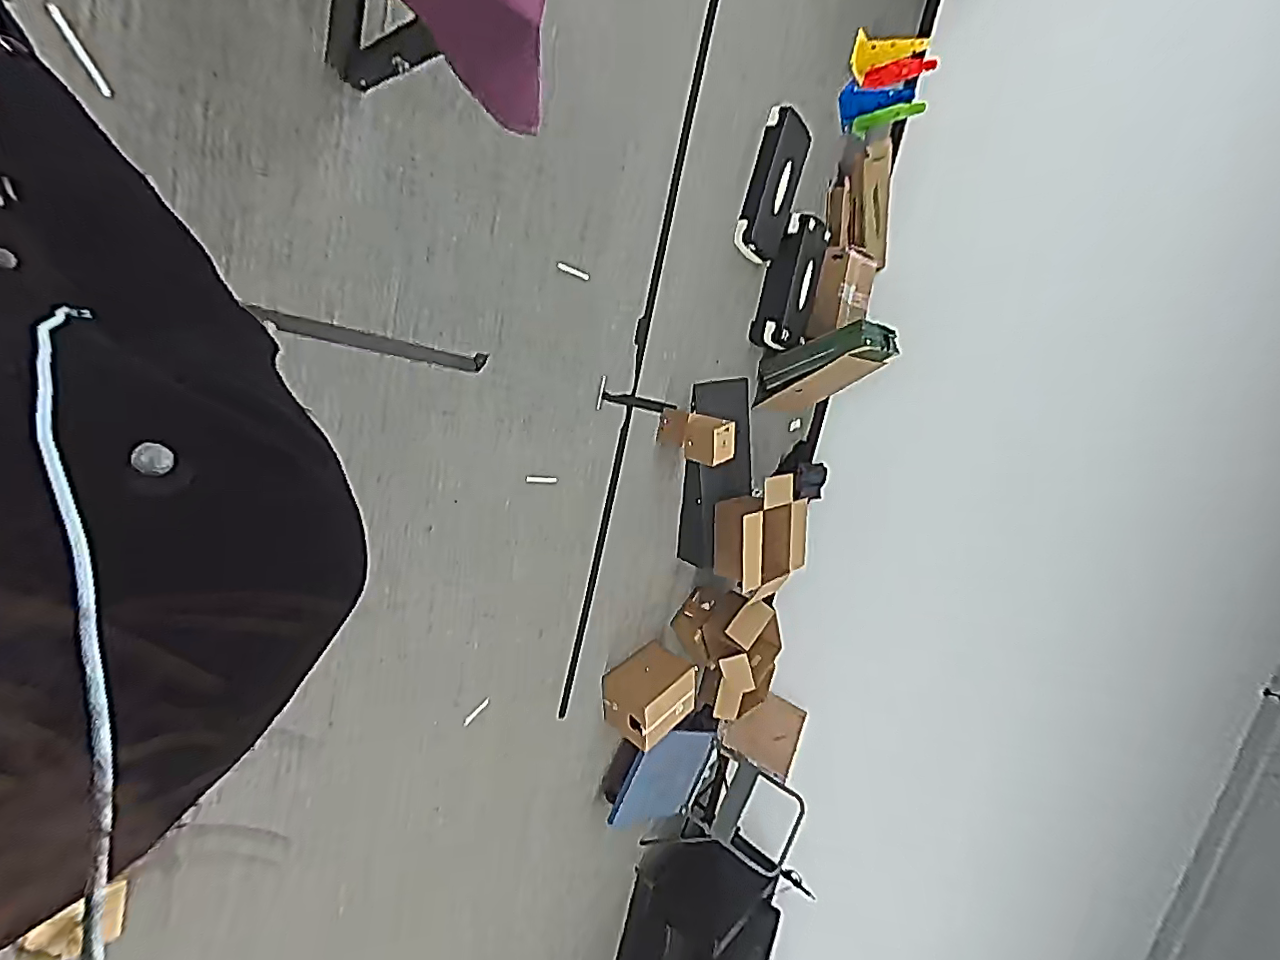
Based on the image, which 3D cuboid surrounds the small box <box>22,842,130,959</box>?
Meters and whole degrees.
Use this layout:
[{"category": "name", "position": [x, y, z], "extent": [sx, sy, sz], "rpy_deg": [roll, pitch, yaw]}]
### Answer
[{"category": "small box", "position": [-1.389, 1.037, 1.329], "extent": [0.168, 0.176, 0.179], "rpy_deg": [4, 104, -51]}]
